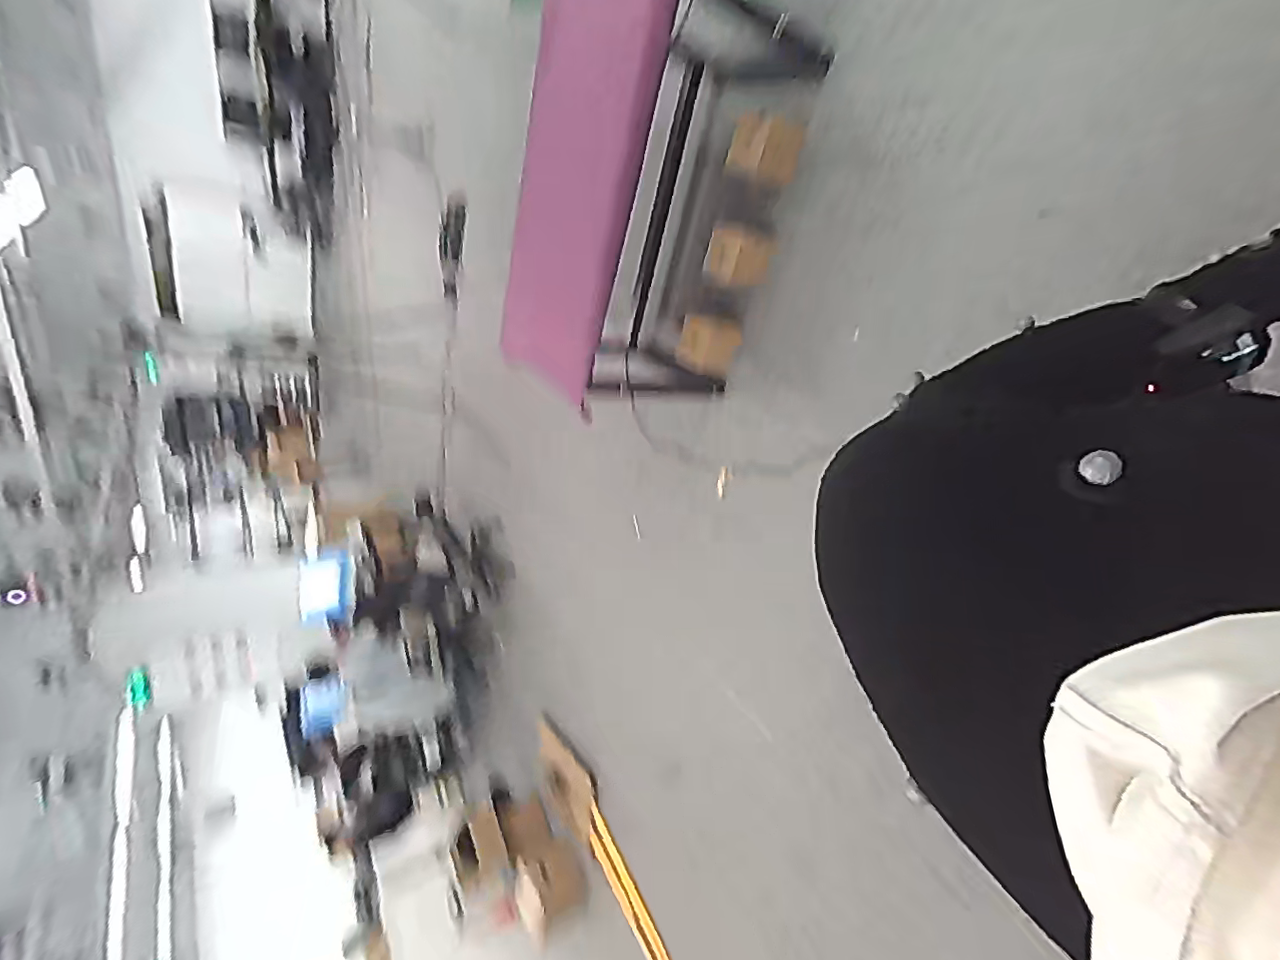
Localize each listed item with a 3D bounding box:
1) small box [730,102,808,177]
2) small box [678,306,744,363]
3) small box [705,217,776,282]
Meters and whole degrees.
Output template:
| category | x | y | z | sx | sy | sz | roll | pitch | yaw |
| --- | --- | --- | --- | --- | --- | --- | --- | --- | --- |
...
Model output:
| category | x | y | z | sx | sy | sz | roll | pitch | yaw |
| --- | --- | --- | --- | --- | --- | --- | --- | --- | --- |
| small box | 0.445 | -1.166 | 1.860 | 0.168 | 0.176 | 0.179 | 44 | 127 | 39 |
| small box | 0.284 | -0.574 | 2.145 | 0.168 | 0.176 | 0.179 | 41 | 125 | 41 |
| small box | 0.373 | -0.848 | 1.995 | 0.168 | 0.176 | 0.179 | 43 | 127 | 41 |
